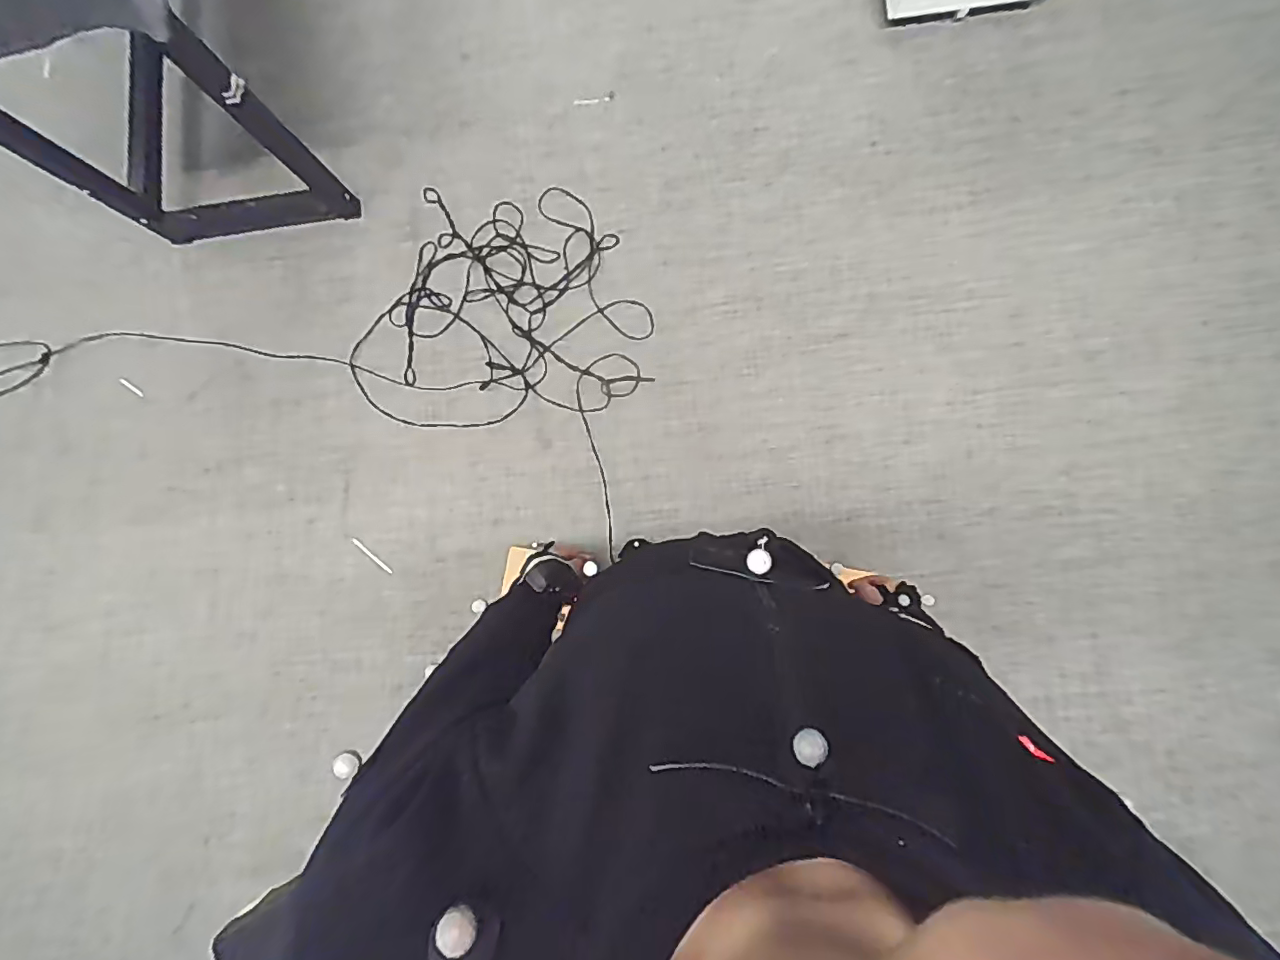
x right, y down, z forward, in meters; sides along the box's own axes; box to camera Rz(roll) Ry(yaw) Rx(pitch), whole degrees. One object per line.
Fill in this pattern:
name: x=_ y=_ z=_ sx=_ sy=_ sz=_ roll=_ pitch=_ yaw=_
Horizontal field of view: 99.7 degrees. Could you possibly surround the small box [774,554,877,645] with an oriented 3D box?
small box: x=0.425 y=0.270 z=1.262 sx=0.179 sy=0.176 sz=0.168 roll=10 pitch=86 yaw=6
